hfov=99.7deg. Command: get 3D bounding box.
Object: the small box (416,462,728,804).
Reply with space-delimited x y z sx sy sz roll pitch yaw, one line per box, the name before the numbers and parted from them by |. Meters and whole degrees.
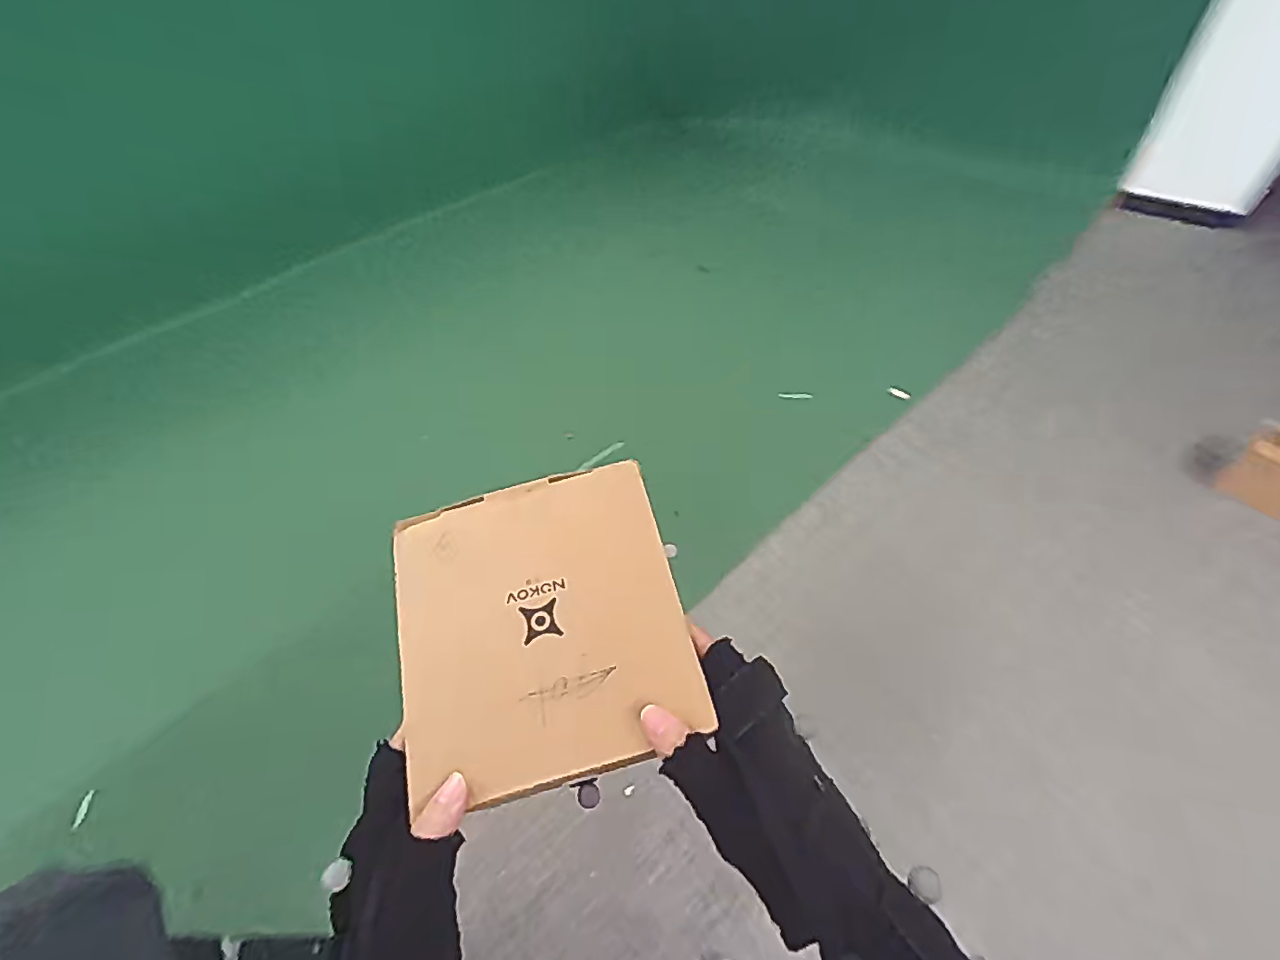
small box | -0.046 0.116 0.395 0.168 0.176 0.179 -14 63 -4
